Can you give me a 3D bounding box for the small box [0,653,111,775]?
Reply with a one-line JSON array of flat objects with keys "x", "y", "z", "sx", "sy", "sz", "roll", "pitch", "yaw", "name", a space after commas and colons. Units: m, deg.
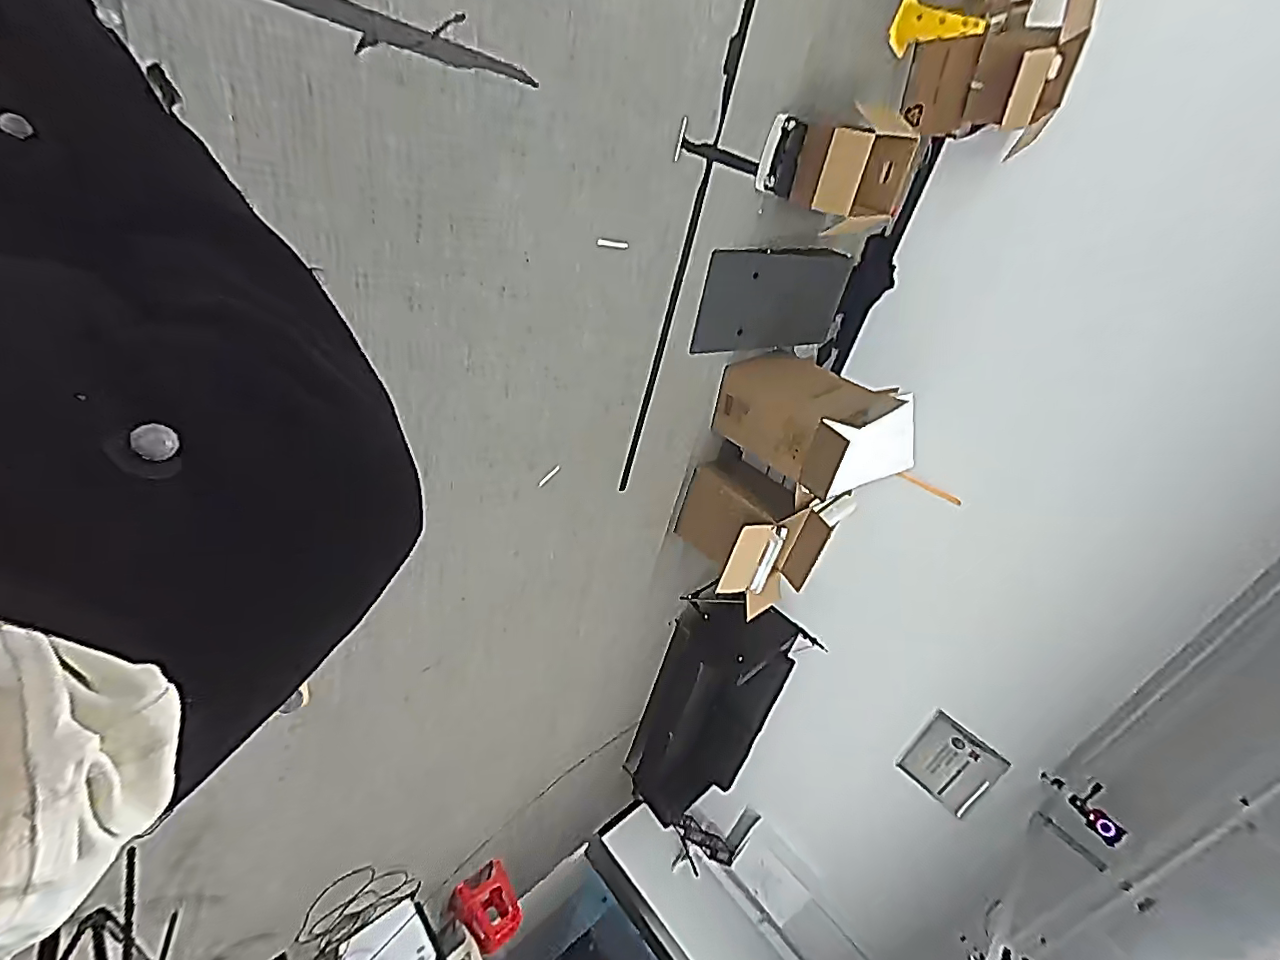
[{"x": -1.398, "y": 0.543, "z": 1.283, "sx": 0.179, "sy": 0.176, "sz": 0.168, "roll": -10, "pitch": 128, "yaw": -46, "name": "small box"}]
